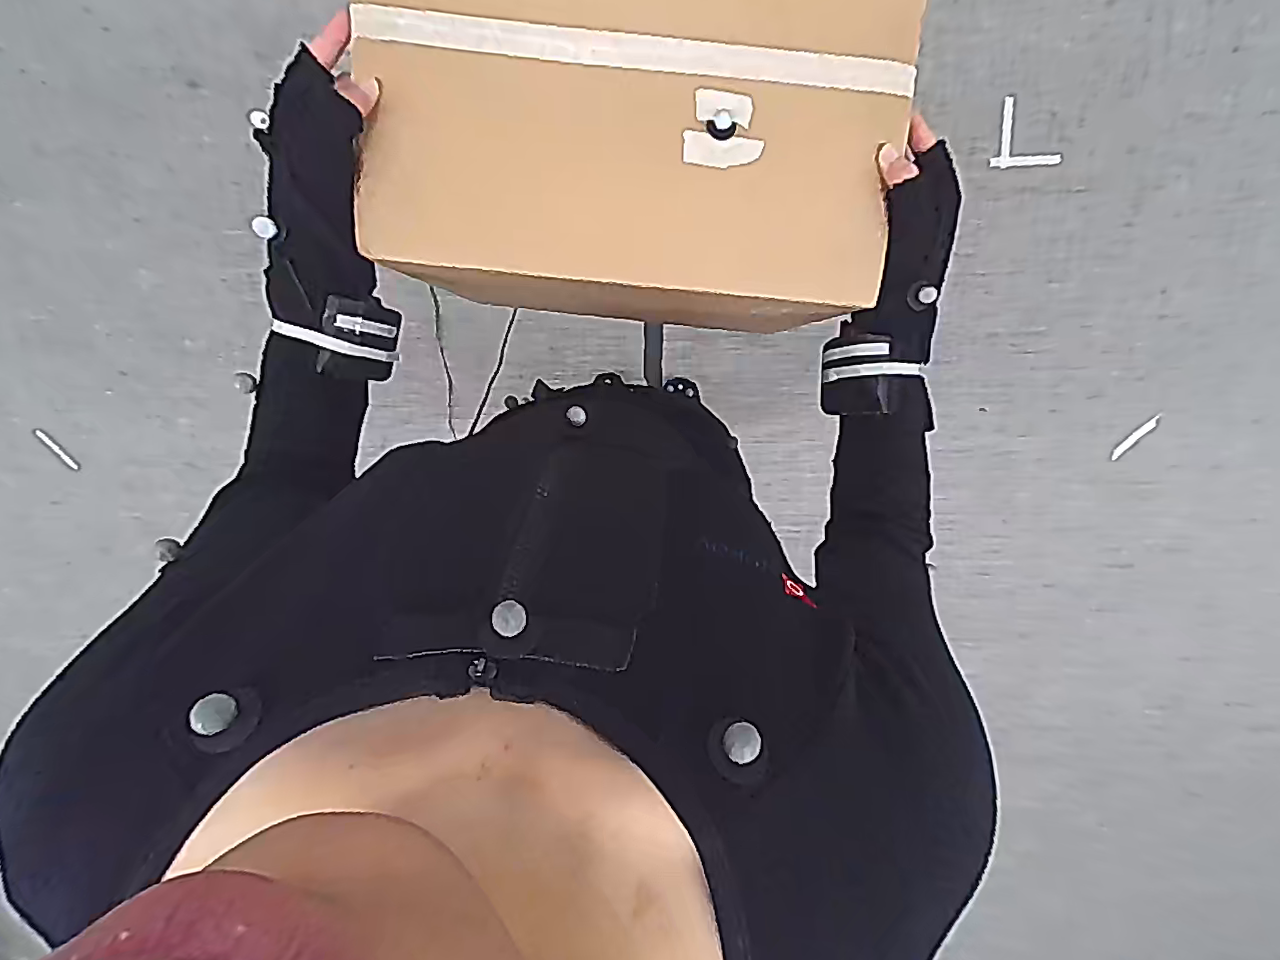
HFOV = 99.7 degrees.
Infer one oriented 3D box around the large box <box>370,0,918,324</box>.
[{"bbox_3d":[-0.003,-0.344,0.546,0.408,0.320,0.320,5,101,-2],"label":"large box"}]
